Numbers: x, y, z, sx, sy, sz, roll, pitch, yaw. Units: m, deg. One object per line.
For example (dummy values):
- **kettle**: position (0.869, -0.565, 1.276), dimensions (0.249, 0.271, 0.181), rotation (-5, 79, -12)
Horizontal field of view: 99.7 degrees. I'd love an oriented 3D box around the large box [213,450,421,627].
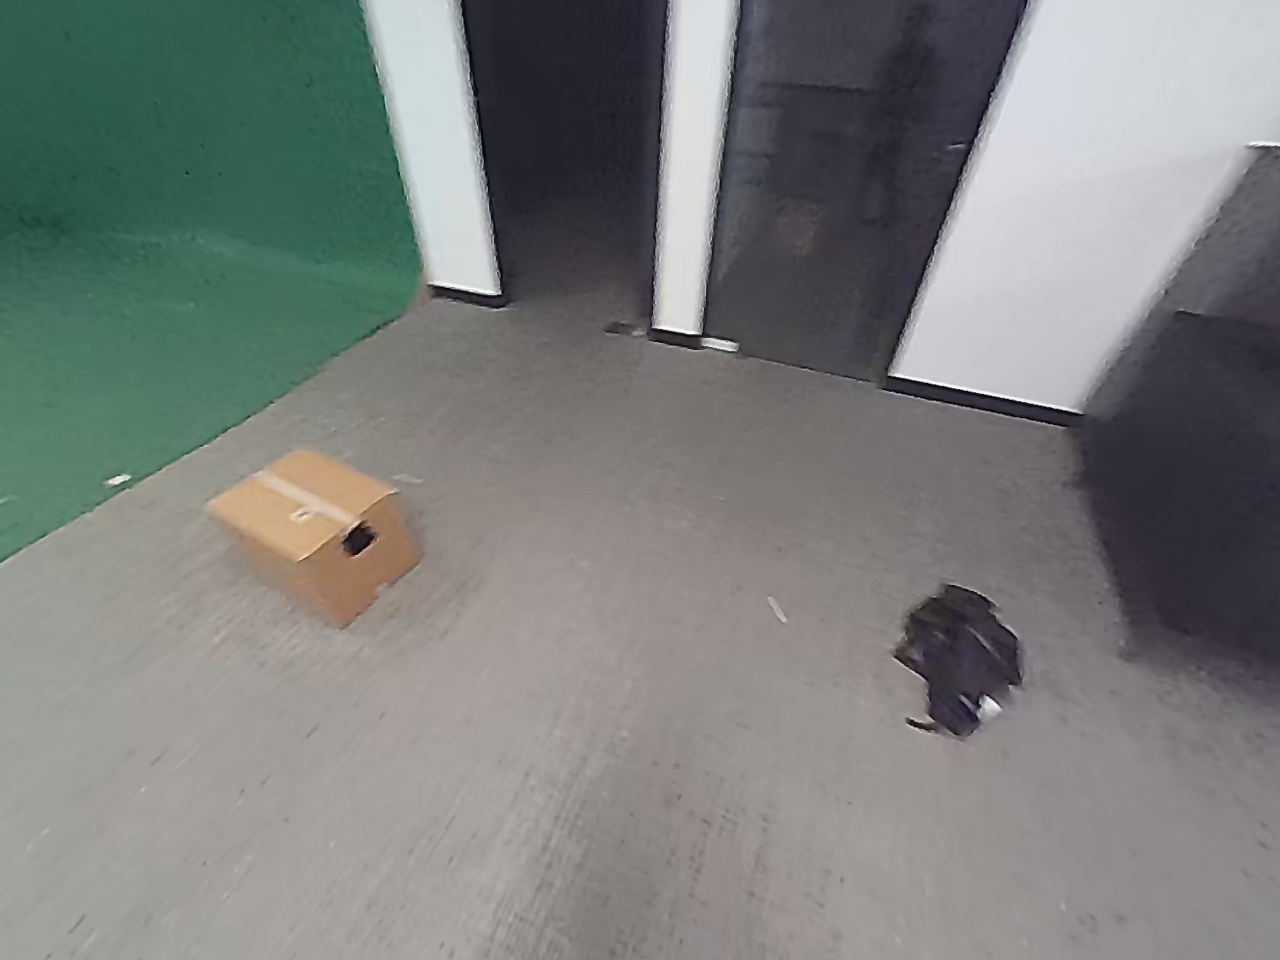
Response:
- **large box**: position (-0.944, 0.166, 1.624), dimensions (0.408, 0.320, 0.320), rotation (22, 45, 19)
